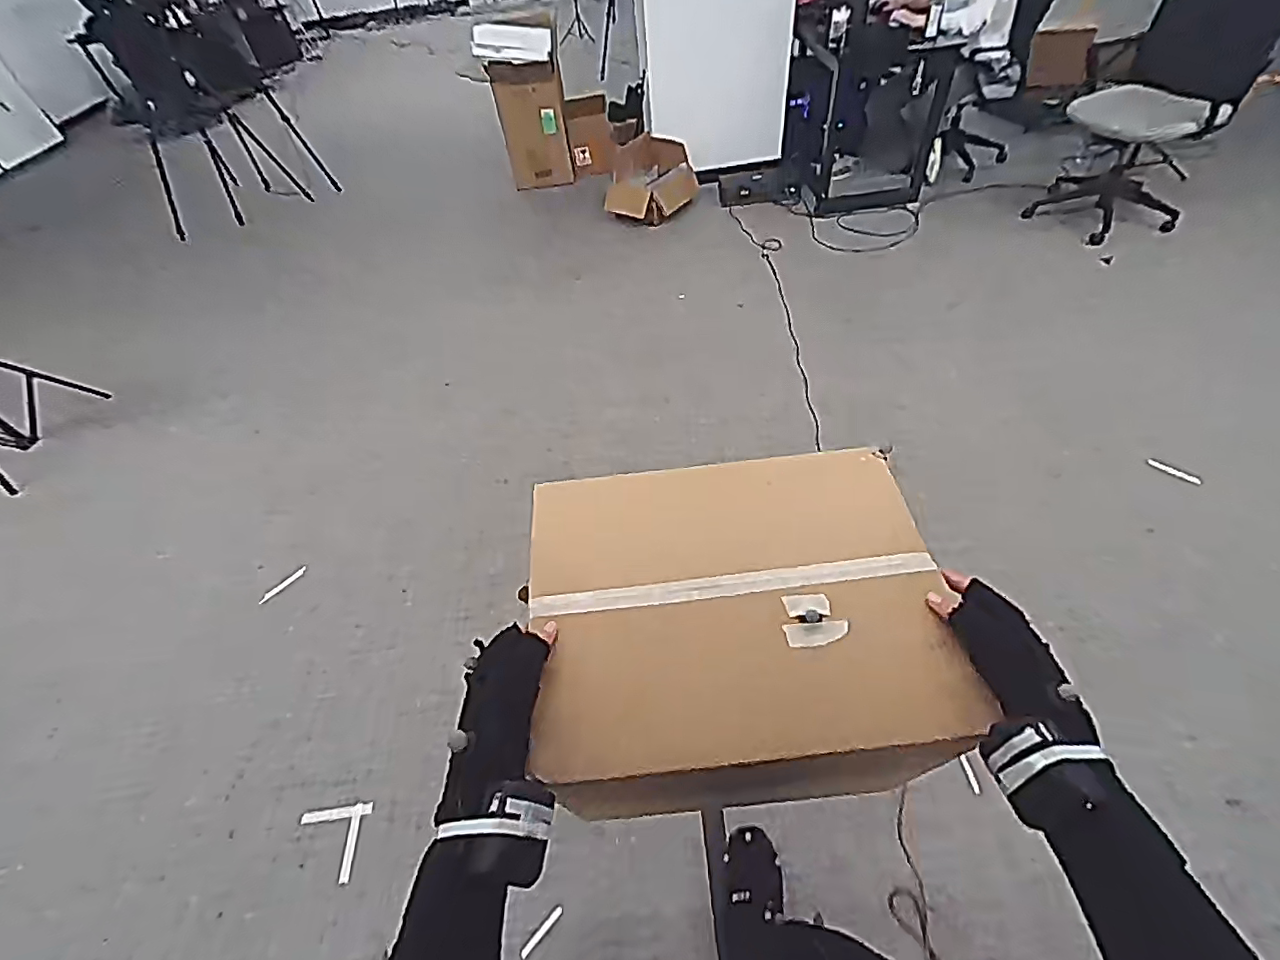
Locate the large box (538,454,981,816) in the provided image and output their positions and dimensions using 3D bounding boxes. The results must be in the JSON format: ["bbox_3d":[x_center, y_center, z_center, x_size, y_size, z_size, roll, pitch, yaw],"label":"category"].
[{"bbox_3d":[0.099,0.203,0.680,0.408,0.320,0.320,-7,53,-1],"label":"large box"}]
